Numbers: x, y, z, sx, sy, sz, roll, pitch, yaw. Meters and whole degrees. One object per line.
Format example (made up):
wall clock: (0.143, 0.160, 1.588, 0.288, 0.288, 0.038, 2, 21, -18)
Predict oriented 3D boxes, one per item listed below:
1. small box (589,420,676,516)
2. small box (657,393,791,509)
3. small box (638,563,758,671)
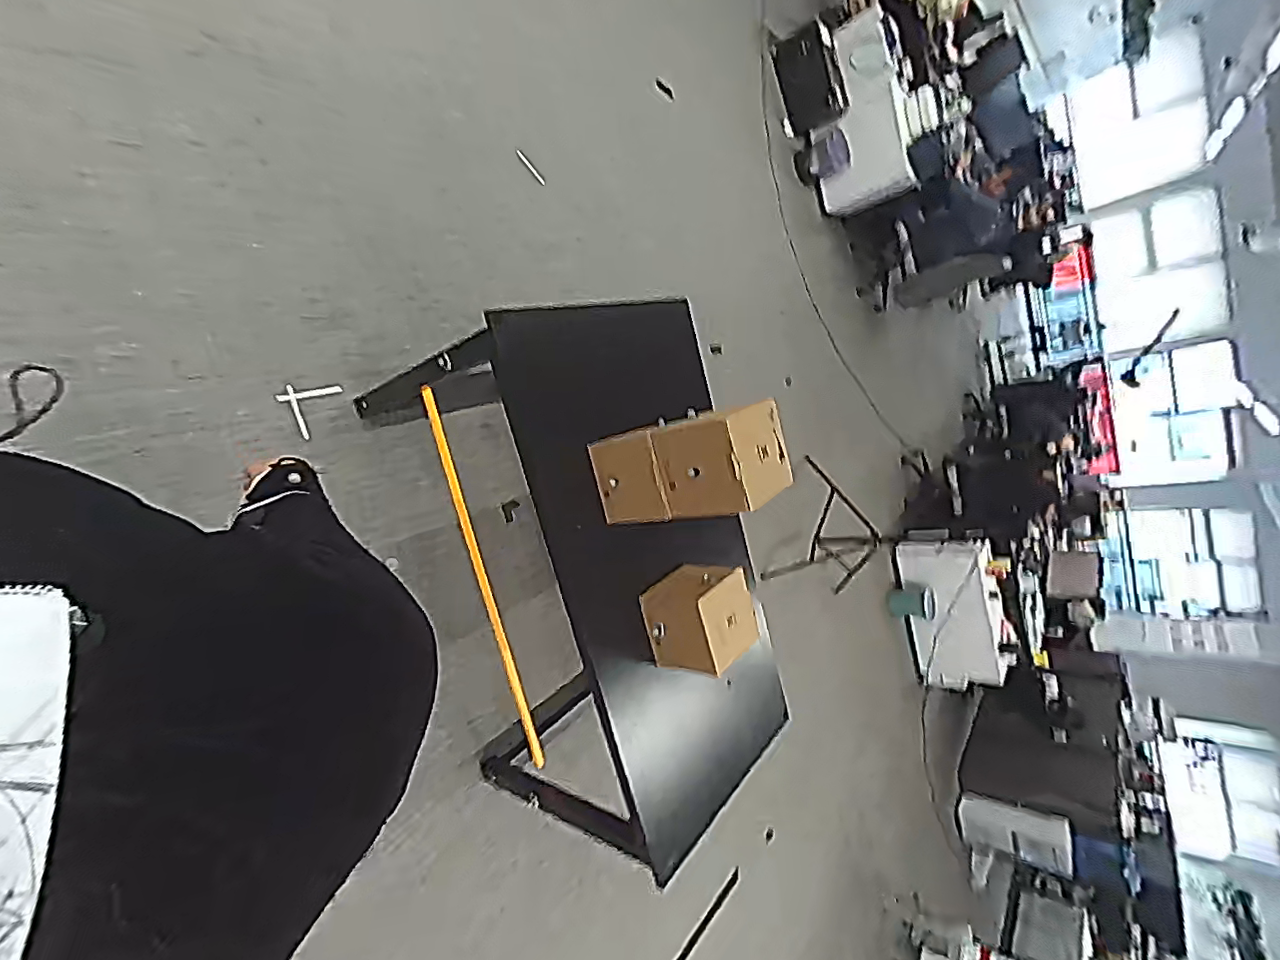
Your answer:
small box: (0.025, -0.030, 1.105, 0.179, 0.176, 0.168, -22, 100, -46)
small box: (0.149, -0.051, 0.999, 0.179, 0.176, 0.168, -25, 103, -45)
small box: (0.126, 0.286, 1.171, 0.179, 0.176, 0.168, -25, 101, -45)
